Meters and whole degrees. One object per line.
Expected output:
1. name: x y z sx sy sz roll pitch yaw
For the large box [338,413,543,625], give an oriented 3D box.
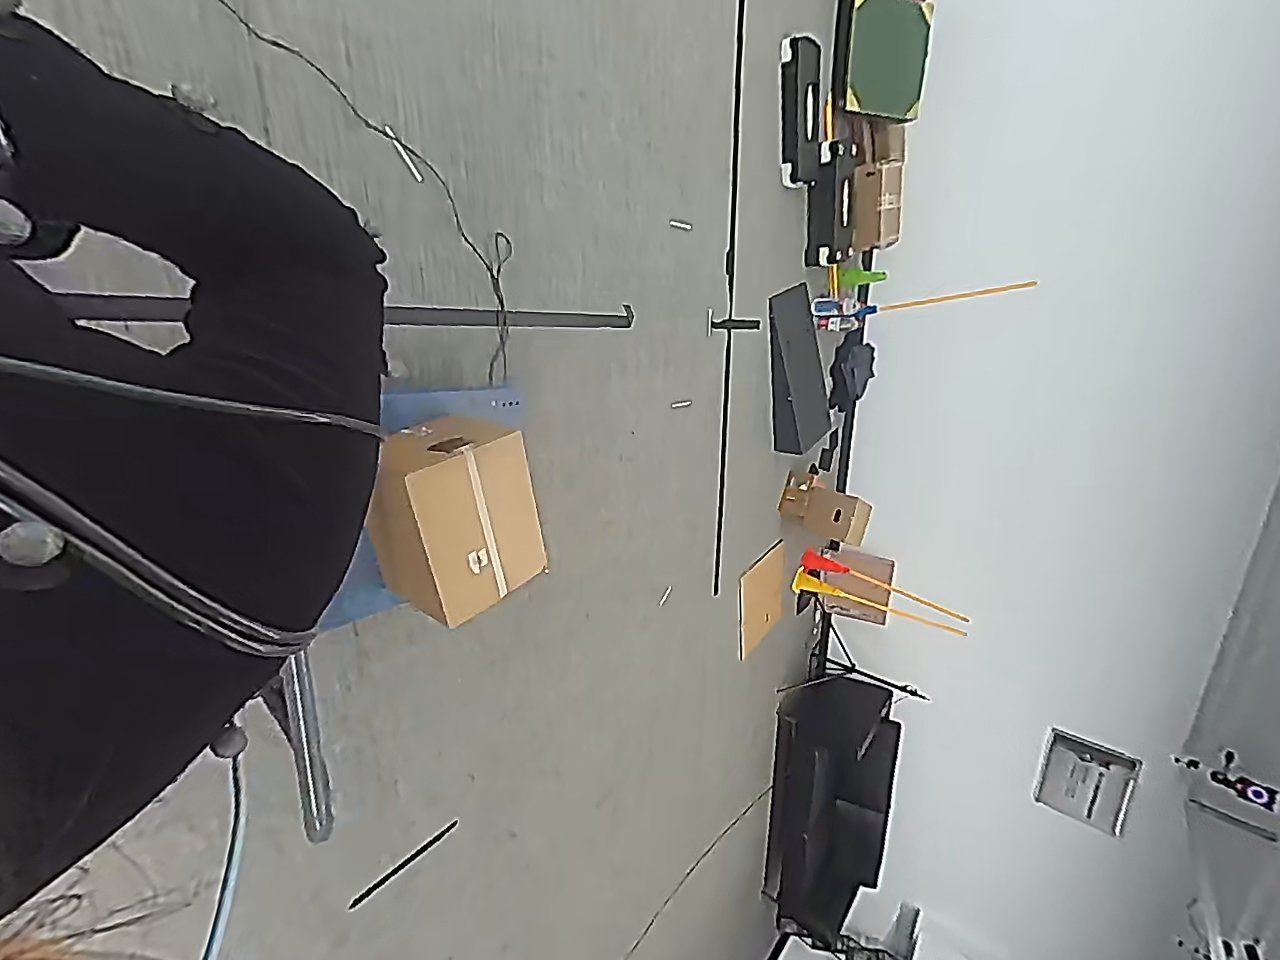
1. large box: -0.492 0.078 1.372 0.320 0.320 0.408 -30 124 -43
